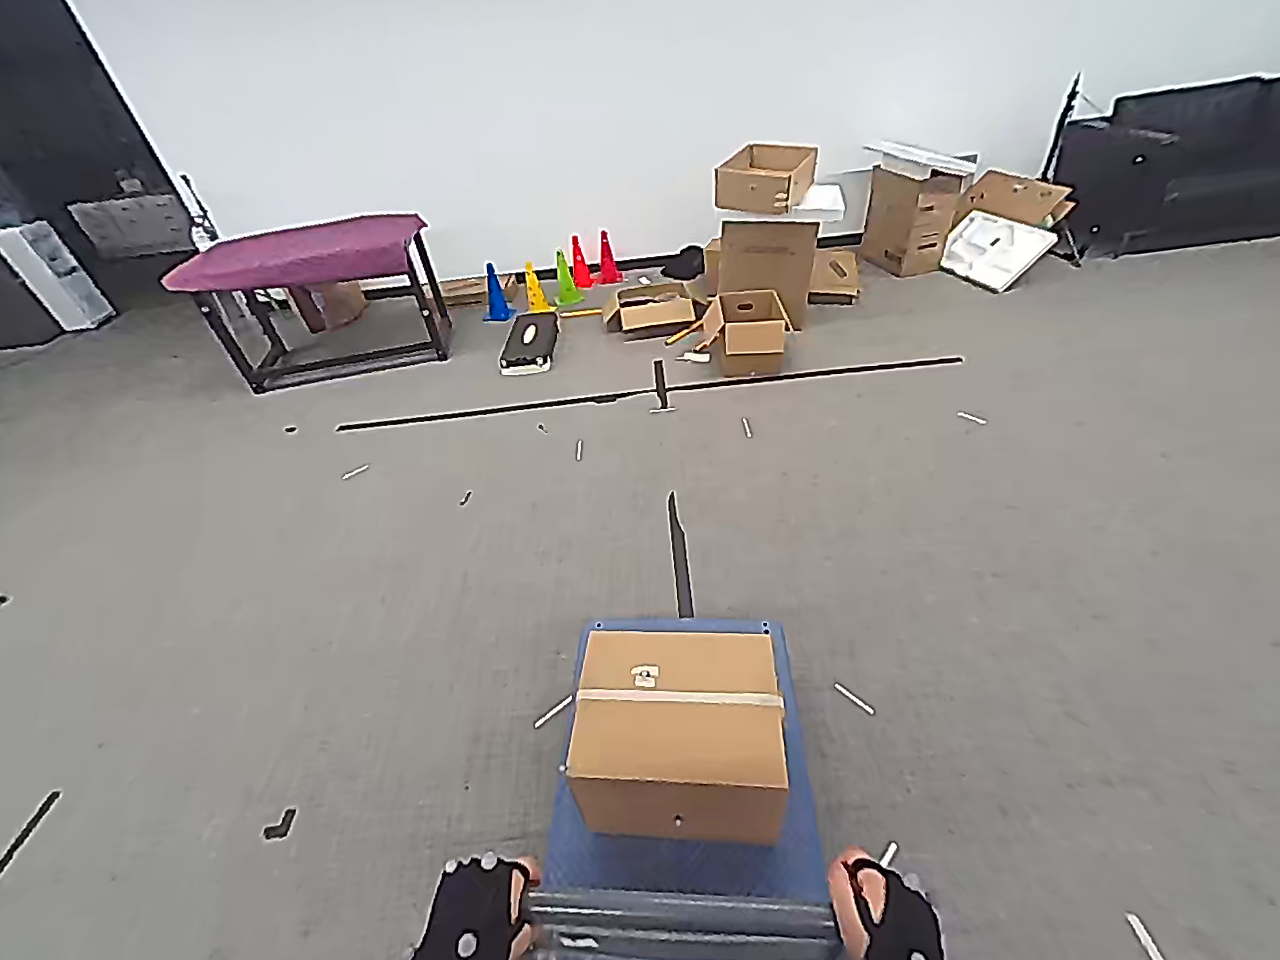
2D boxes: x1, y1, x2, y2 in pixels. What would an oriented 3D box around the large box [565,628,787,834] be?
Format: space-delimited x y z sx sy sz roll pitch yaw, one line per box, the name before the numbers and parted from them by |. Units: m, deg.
large box | 0.087 0.540 1.170 0.408 0.320 0.320 -2 39 8
